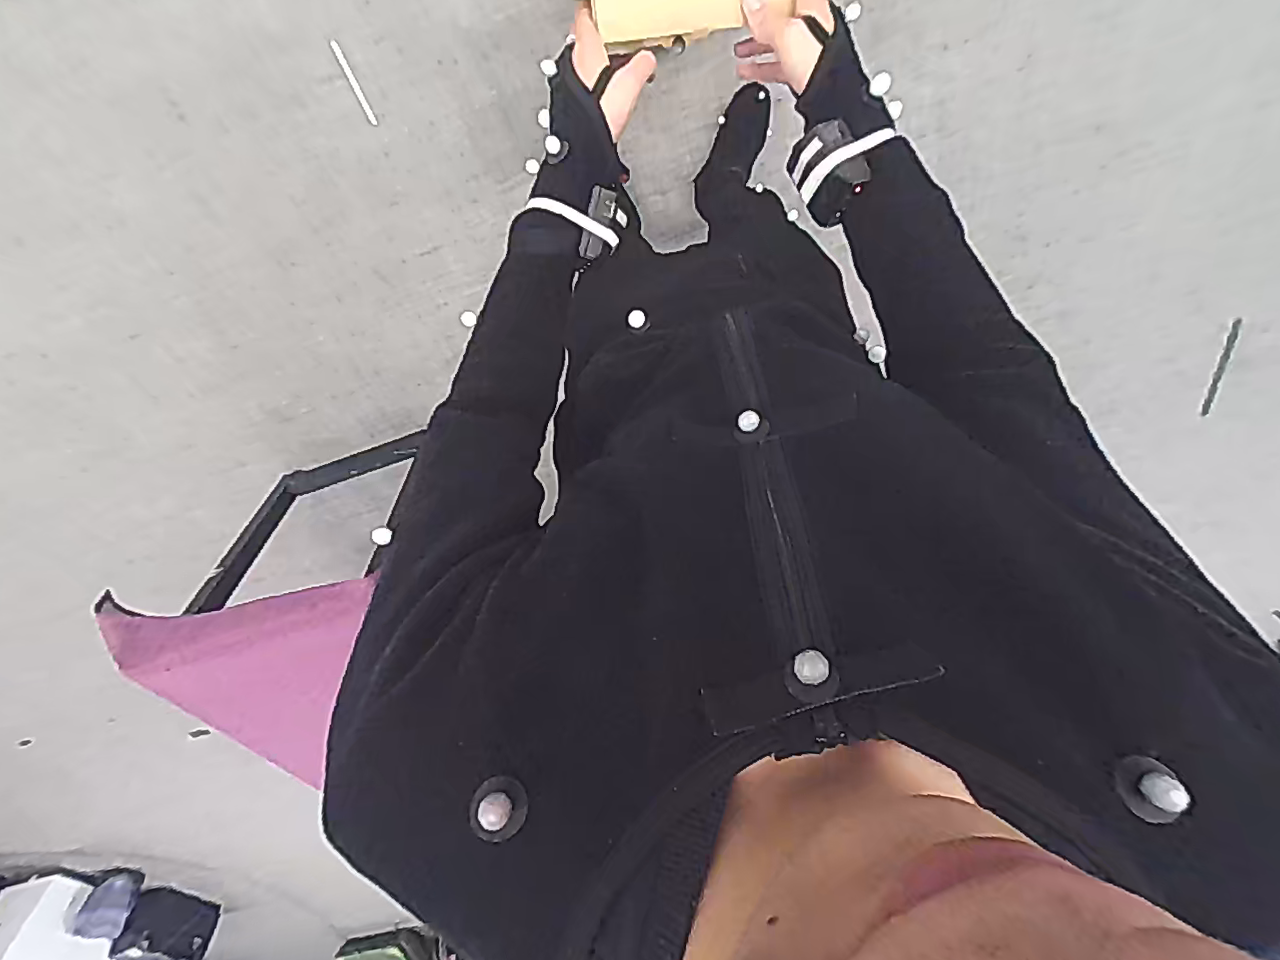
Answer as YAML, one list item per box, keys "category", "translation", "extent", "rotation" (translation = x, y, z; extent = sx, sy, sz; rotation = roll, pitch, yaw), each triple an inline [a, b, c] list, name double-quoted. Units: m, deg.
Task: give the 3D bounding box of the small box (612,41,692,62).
- category: "small box"
  translation: [0.012, -0.951, 1.063]
  extent: [0.168, 0.176, 0.179]
  rotation: [-14, 127, 4]

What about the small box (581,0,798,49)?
- category: "small box"
  translation: [0.030, -0.483, 0.466]
  extent: [0.179, 0.176, 0.168]
  rotation: [-9, 130, -2]
